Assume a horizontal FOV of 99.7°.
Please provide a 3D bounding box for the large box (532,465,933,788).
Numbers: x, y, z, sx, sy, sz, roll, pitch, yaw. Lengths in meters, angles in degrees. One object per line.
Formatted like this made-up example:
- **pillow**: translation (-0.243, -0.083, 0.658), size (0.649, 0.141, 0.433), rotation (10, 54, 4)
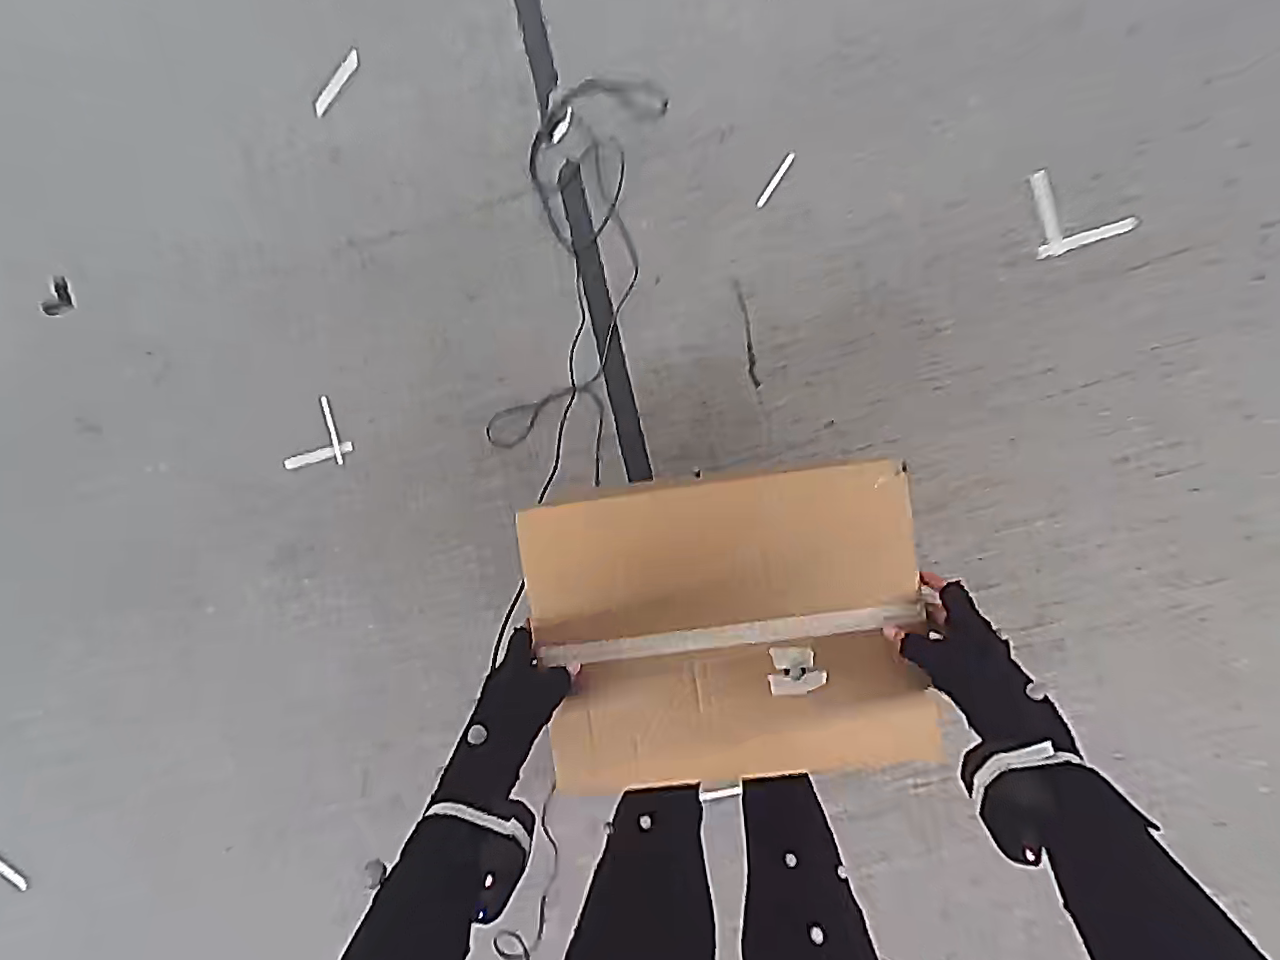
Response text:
- **large box**: translation (0.107, 0.162, 0.739), size (0.408, 0.320, 0.320), rotation (-9, 92, 5)
